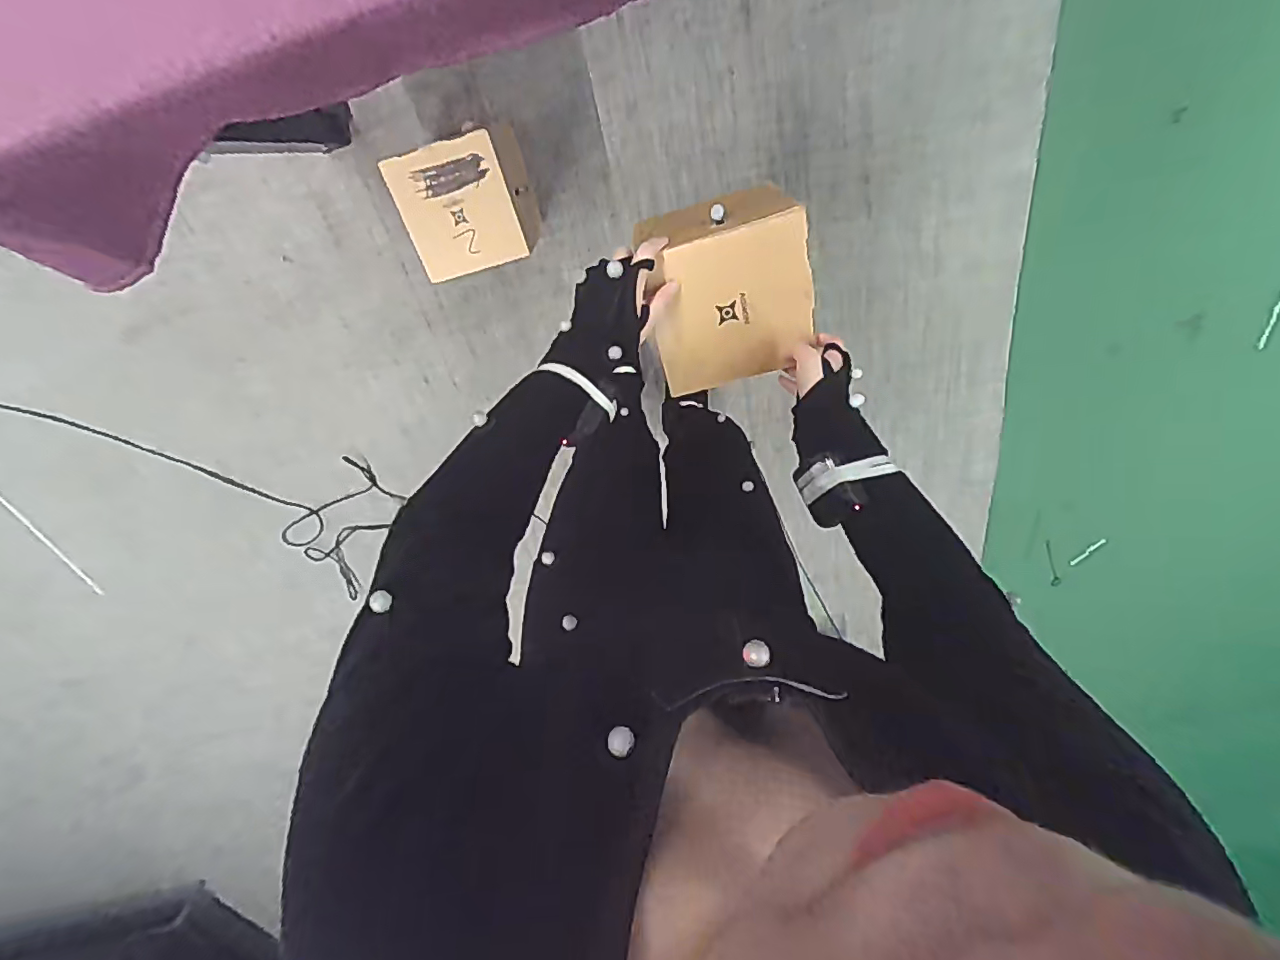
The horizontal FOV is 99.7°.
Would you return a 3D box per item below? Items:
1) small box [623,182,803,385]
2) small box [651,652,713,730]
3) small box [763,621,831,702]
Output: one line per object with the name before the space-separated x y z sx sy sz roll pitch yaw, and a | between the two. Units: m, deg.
small box | 0.084 -0.241 0.656 0.179 0.176 0.168 -13 126 7
small box | 0.138 0.699 1.811 0.168 0.176 0.179 -13 123 5
small box | 0.510 0.590 1.770 0.179 0.176 0.168 -14 123 5
